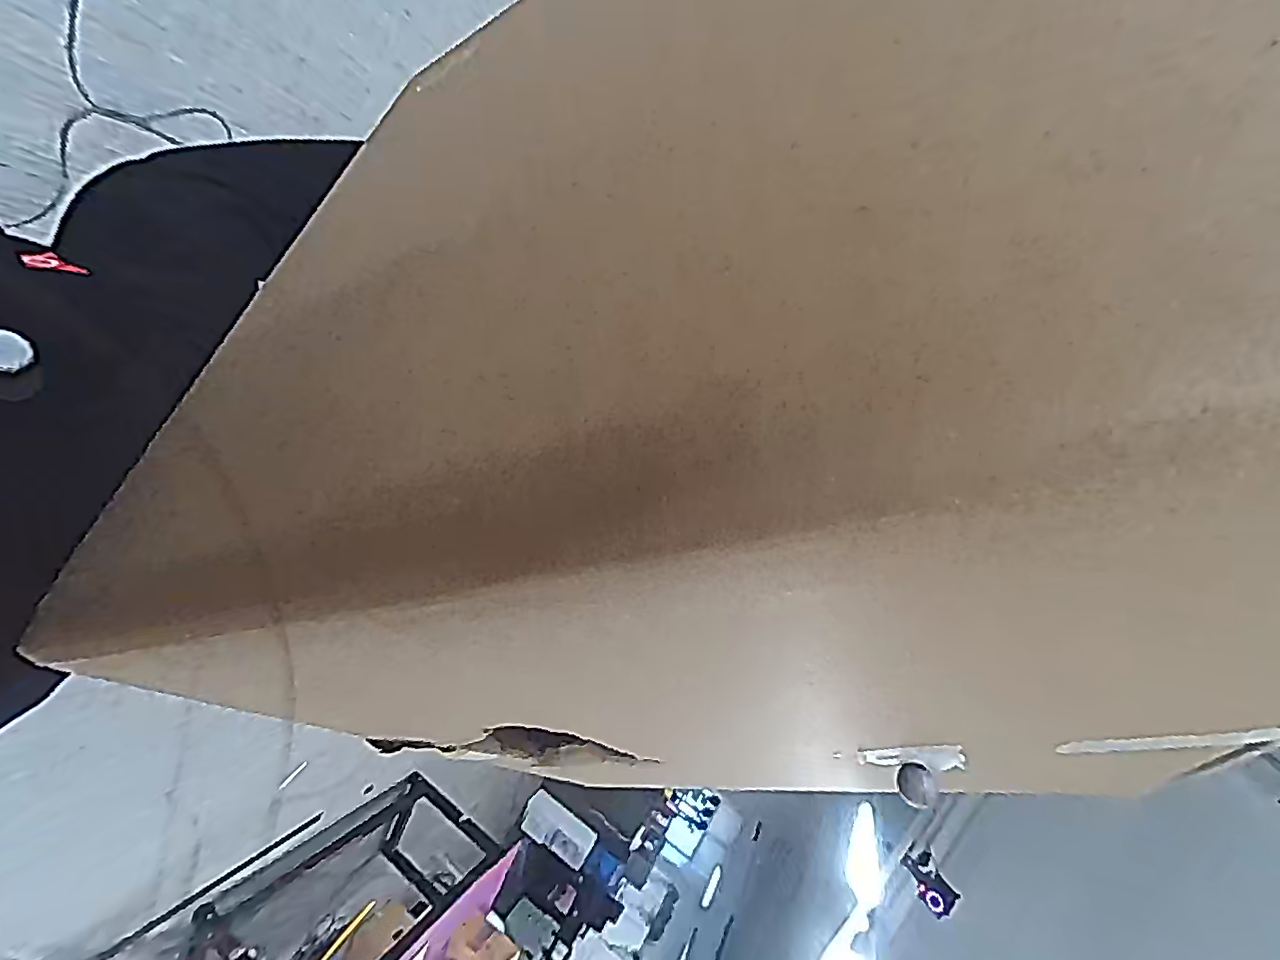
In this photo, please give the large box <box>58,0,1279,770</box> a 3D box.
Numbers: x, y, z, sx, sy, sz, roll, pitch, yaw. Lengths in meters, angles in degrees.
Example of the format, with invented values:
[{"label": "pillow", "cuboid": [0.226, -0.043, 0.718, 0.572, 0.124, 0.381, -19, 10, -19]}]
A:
[{"label": "large box", "cuboid": [0.038, -0.077, 0.318, 0.320, 0.320, 0.408, 51, 35, -47]}]
